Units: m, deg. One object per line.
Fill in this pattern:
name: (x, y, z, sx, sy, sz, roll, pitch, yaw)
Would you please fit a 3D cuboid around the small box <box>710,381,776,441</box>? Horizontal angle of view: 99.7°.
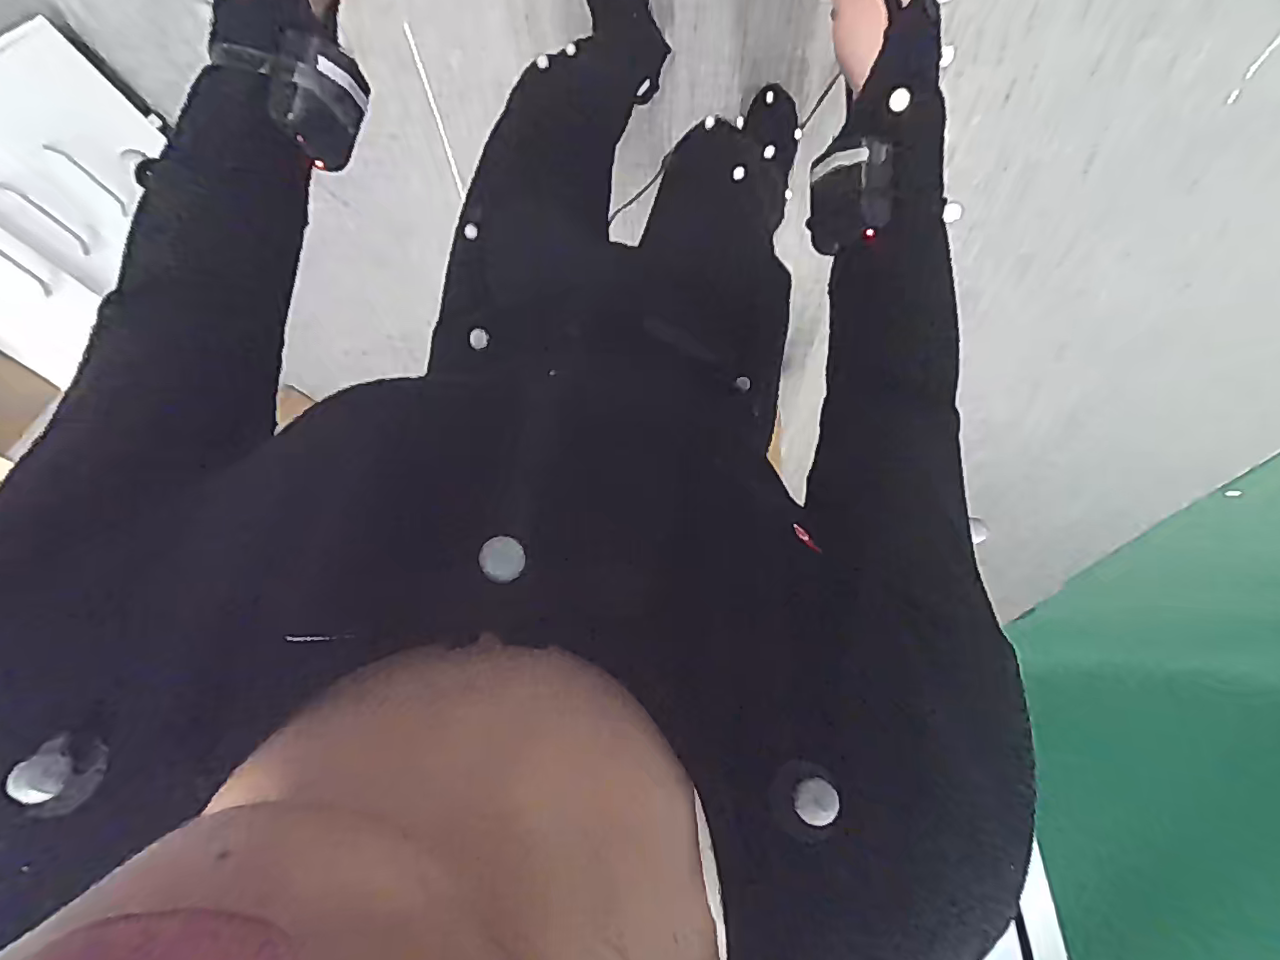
small box: (0.283, -0.155, 1.520, 0.168, 0.176, 0.179, 2, 146, 5)
